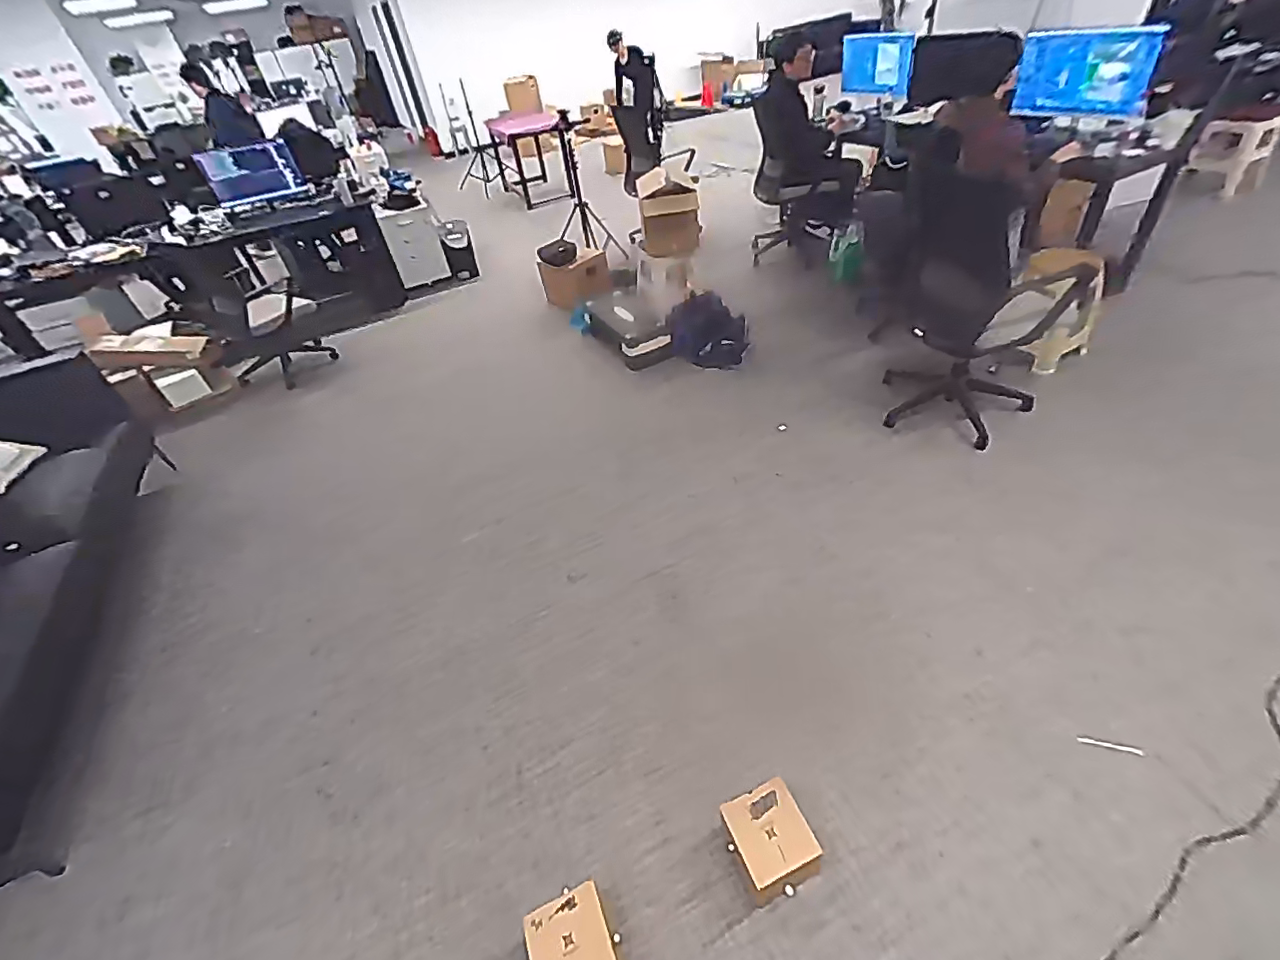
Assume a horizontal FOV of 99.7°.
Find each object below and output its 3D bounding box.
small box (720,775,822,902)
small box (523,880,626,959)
[{"bbox_3d":[0.299,0.838,1.264,0.168,0.176,0.179,-21,43,-11],"label":"small box"},{"bbox_3d":[-0.132,1.010,1.157,0.168,0.176,0.179,-21,42,-12],"label":"small box"}]
